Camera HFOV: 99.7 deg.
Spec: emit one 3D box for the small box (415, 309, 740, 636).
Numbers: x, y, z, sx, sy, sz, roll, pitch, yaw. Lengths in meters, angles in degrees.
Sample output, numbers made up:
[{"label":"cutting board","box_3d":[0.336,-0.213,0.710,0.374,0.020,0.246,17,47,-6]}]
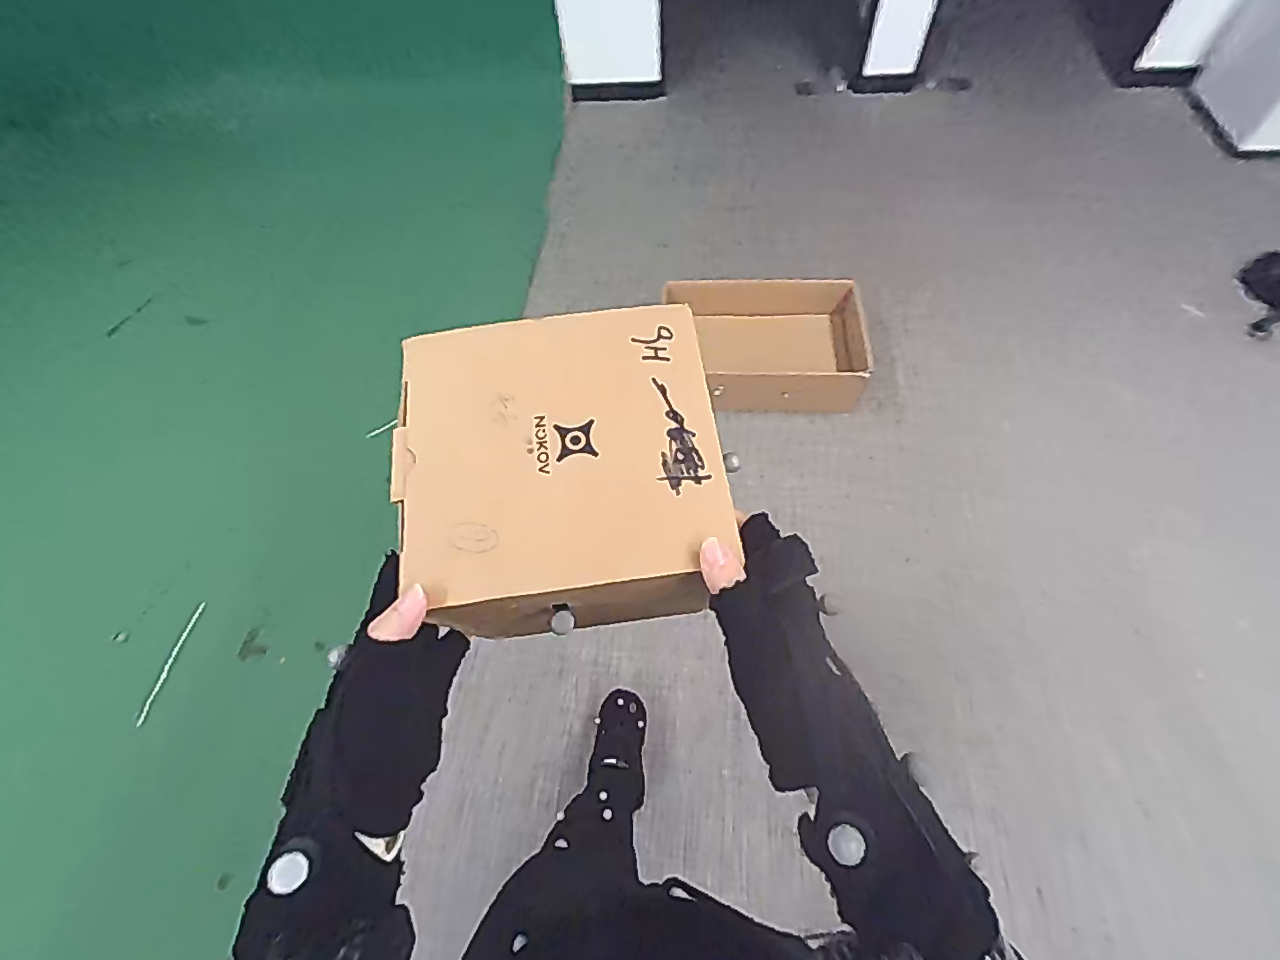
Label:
[{"label":"small box","box_3d":[-0.042,0.008,0.388,0.179,0.176,0.168,-9,67,-4]}]
